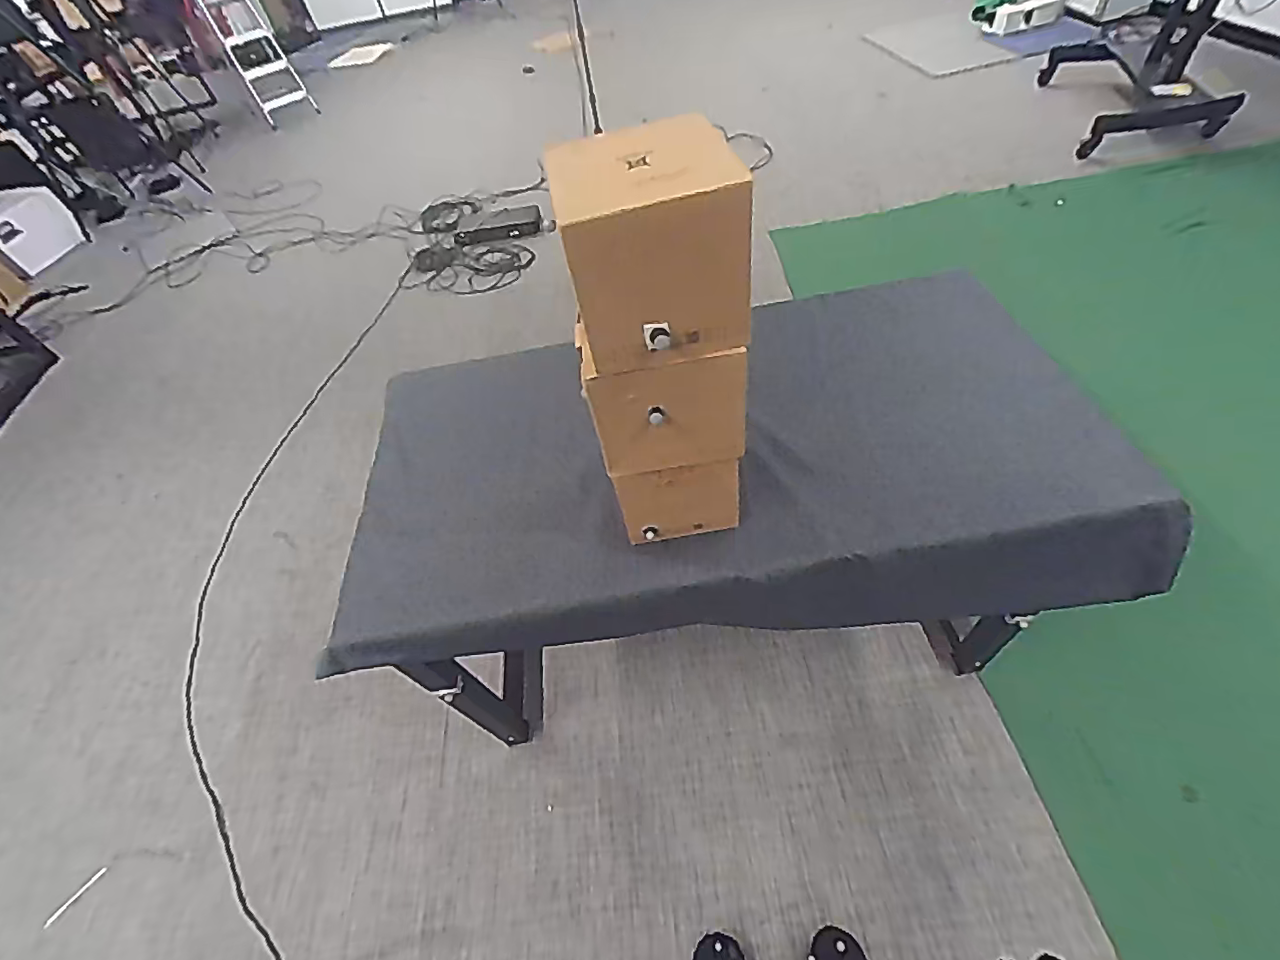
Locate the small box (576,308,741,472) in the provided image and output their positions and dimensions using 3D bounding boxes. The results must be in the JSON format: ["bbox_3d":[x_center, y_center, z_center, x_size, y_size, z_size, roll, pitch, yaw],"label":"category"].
[{"bbox_3d":[0.025,-0.129,0.684,0.179,0.176,0.168,-11,49,0],"label":"small box"}]

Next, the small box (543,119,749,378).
[{"bbox_3d":[0.006,-0.236,0.559,0.168,0.176,0.179,-14,51,0],"label":"small box"}]

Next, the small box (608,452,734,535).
[{"bbox_3d":[0.044,-0.033,0.812,0.168,0.176,0.179,-10,50,2],"label":"small box"}]
